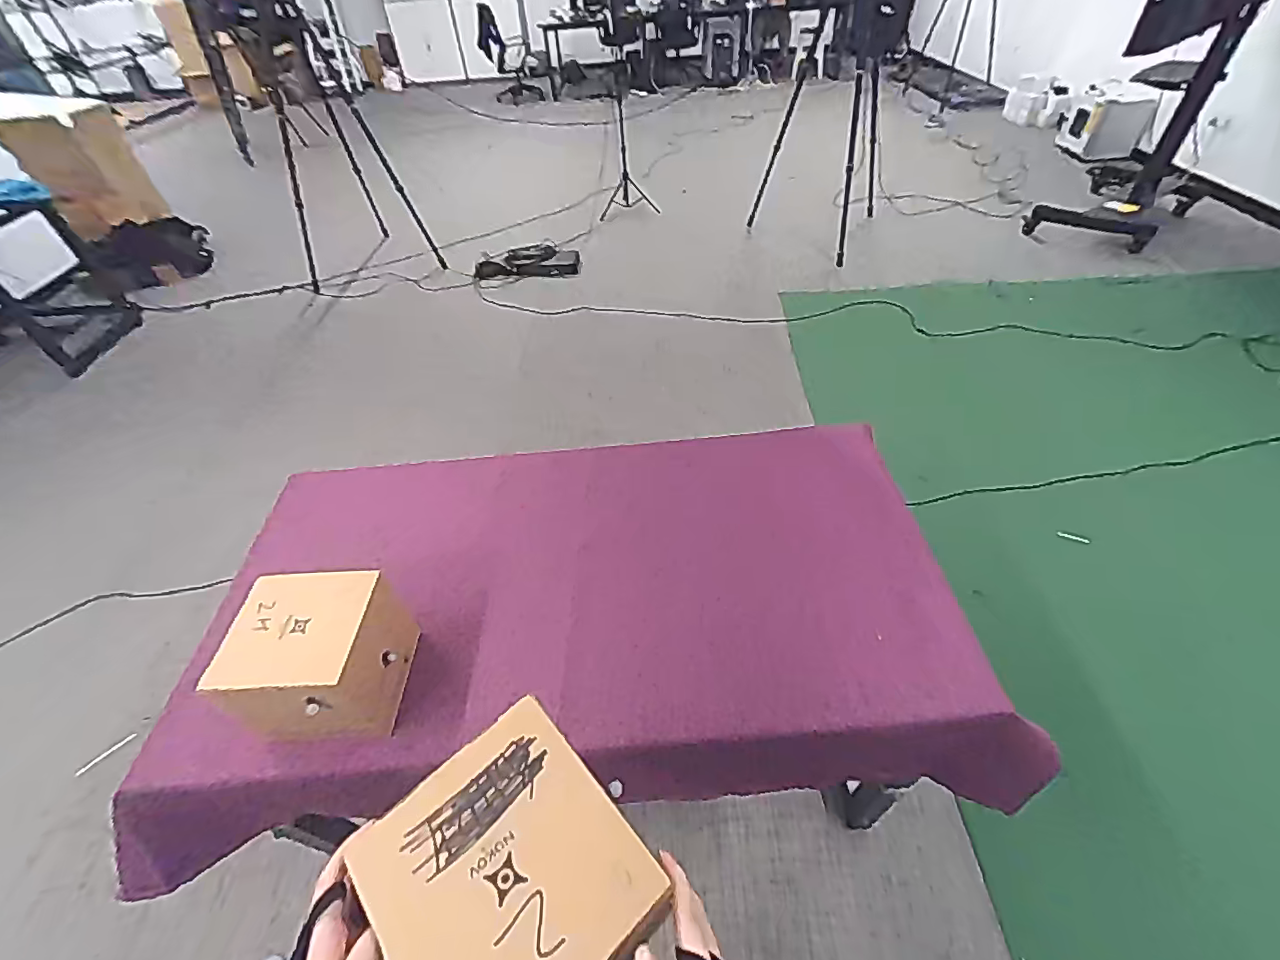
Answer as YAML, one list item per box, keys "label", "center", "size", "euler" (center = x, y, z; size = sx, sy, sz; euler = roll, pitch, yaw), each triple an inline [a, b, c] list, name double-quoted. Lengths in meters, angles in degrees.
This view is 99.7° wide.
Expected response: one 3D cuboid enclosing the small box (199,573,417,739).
- label: "small box"
  center: [-0.439, 0.248, 0.757]
  size: [0.179, 0.176, 0.168]
  euler: [-3, 45, 2]
